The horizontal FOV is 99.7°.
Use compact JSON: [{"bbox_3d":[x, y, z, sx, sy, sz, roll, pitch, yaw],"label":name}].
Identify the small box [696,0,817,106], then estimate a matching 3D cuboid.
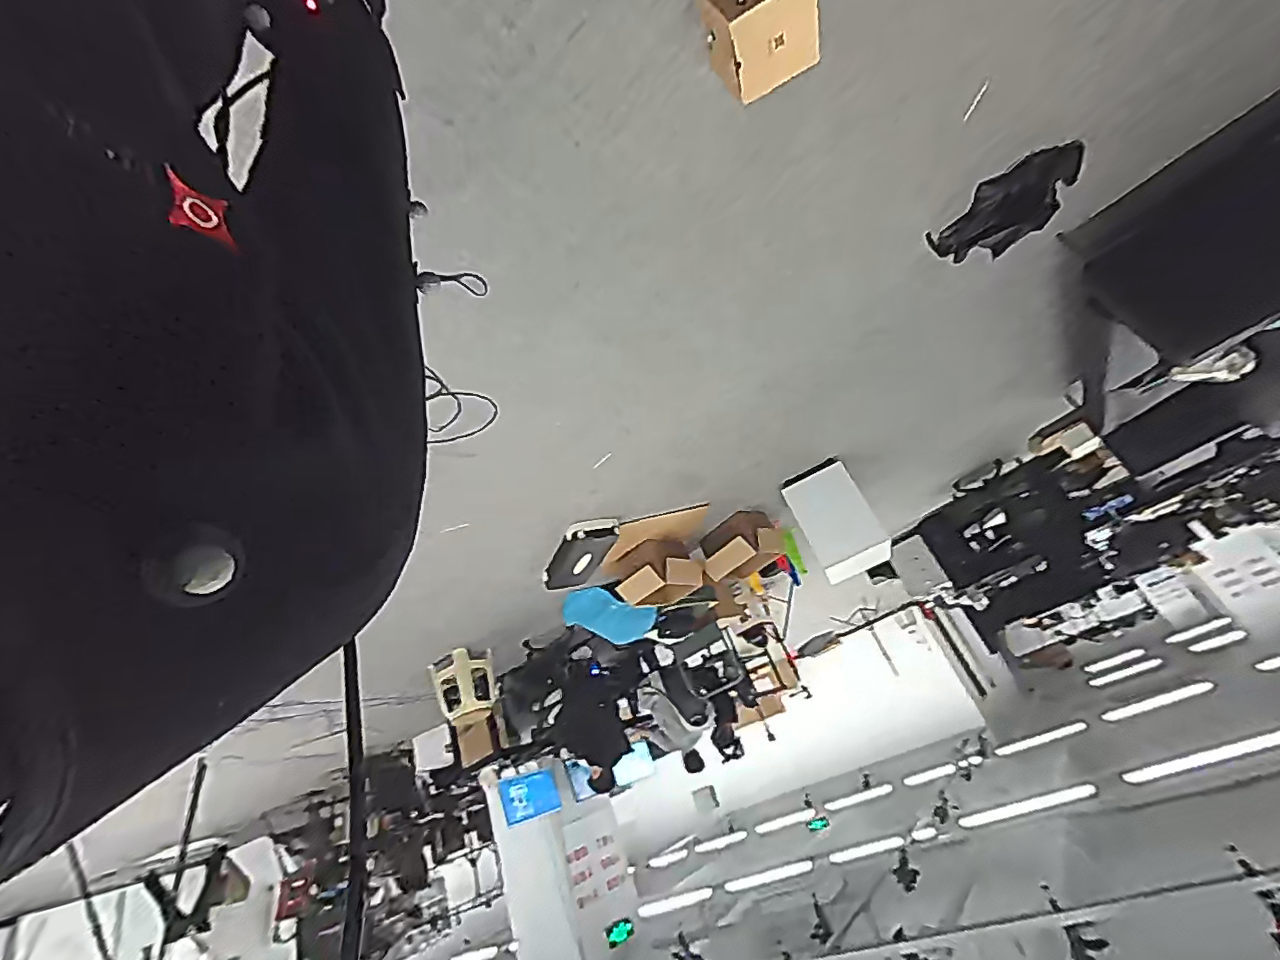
[{"bbox_3d":[0.235,-0.919,1.090,0.179,0.176,0.168,-27,153,9],"label":"small box"}]
